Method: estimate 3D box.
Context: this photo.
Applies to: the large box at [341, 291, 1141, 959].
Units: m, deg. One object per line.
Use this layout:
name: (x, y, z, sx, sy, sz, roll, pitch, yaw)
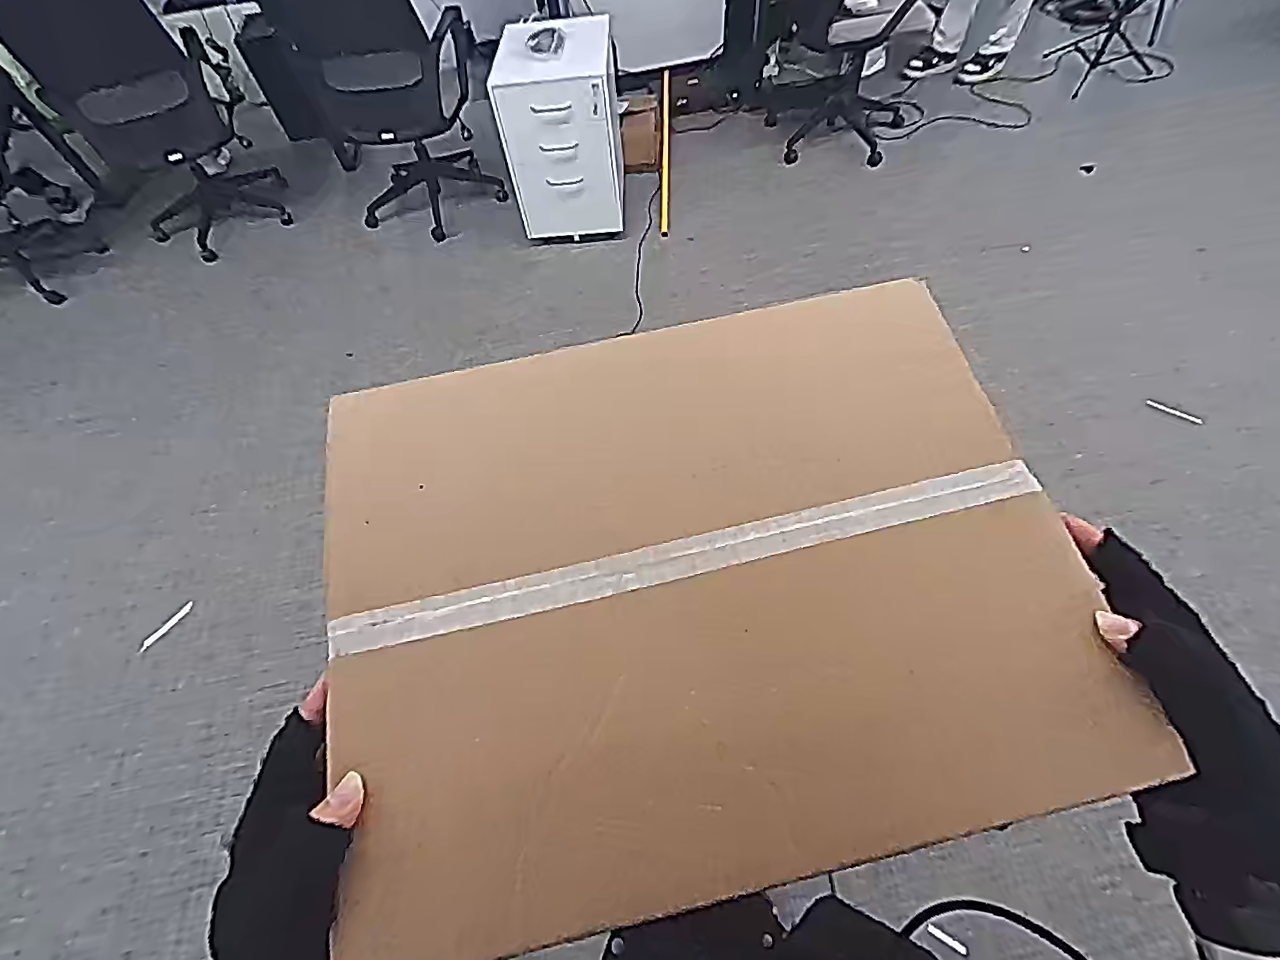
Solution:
large box: (0.035, 0.104, 0.452, 0.408, 0.320, 0.320, -13, 67, -3)
